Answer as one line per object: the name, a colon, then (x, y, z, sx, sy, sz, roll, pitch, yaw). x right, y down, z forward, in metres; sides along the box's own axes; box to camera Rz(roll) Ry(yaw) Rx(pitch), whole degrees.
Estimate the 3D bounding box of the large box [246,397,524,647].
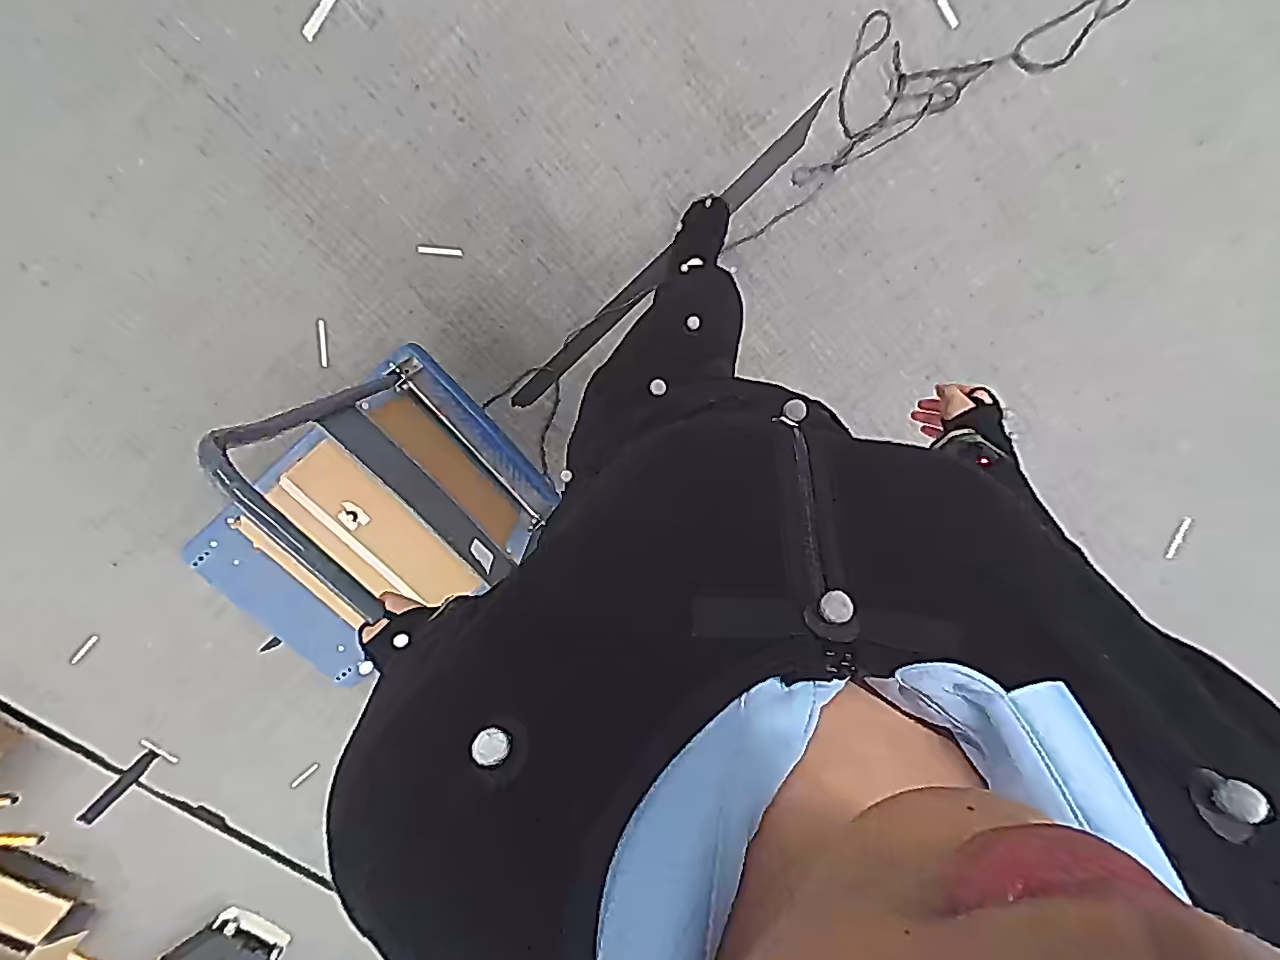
large box: (-0.533, 0.081, 1.220, 0.320, 0.320, 0.408, -37, 105, 12)
